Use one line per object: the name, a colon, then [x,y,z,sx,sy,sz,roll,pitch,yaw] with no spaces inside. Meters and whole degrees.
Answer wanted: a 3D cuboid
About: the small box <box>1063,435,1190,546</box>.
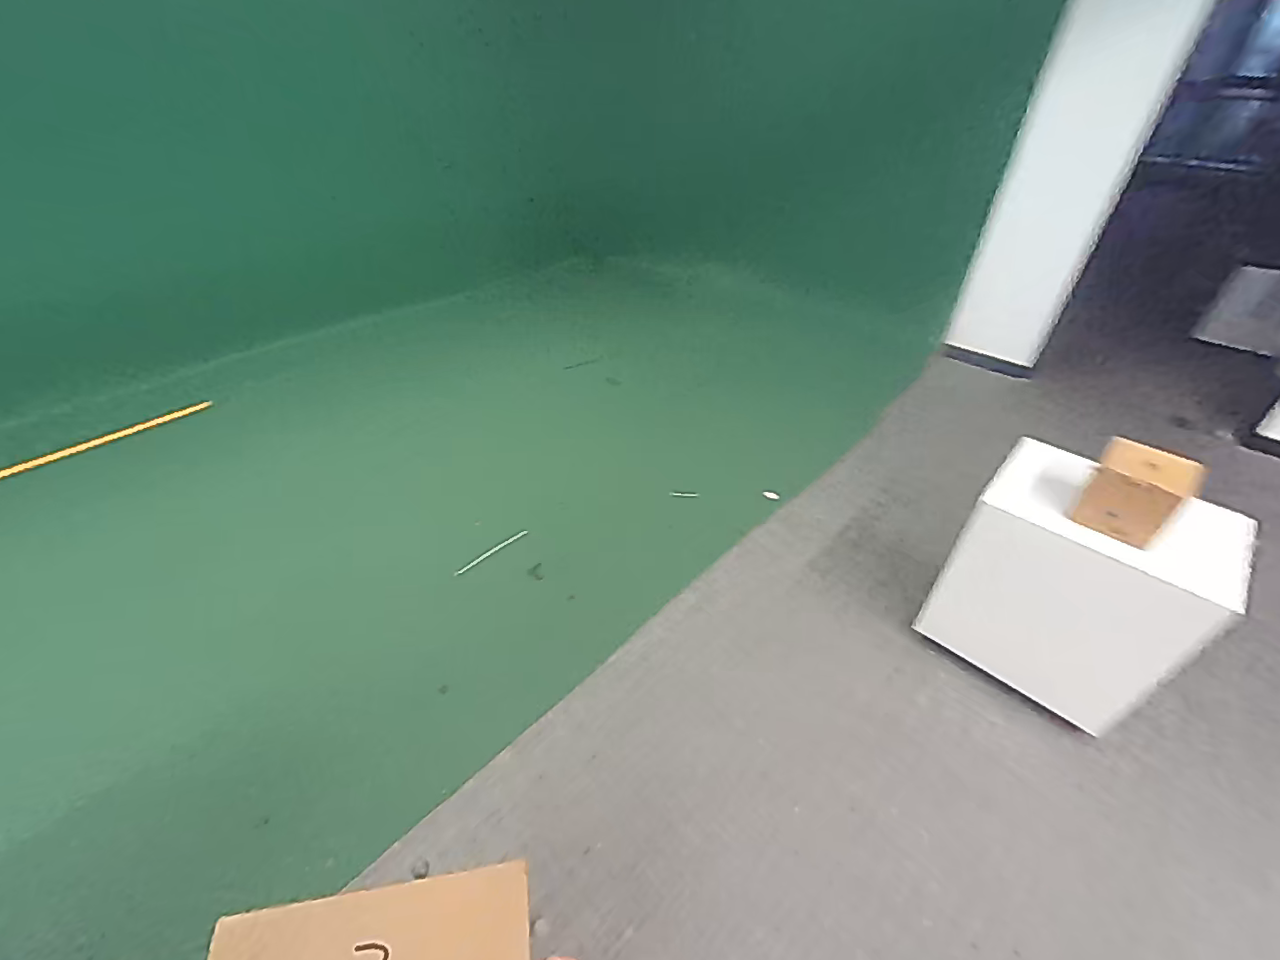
small box: [1.161,0.024,1.299,0.168,0.176,0.179,30,47,32]
